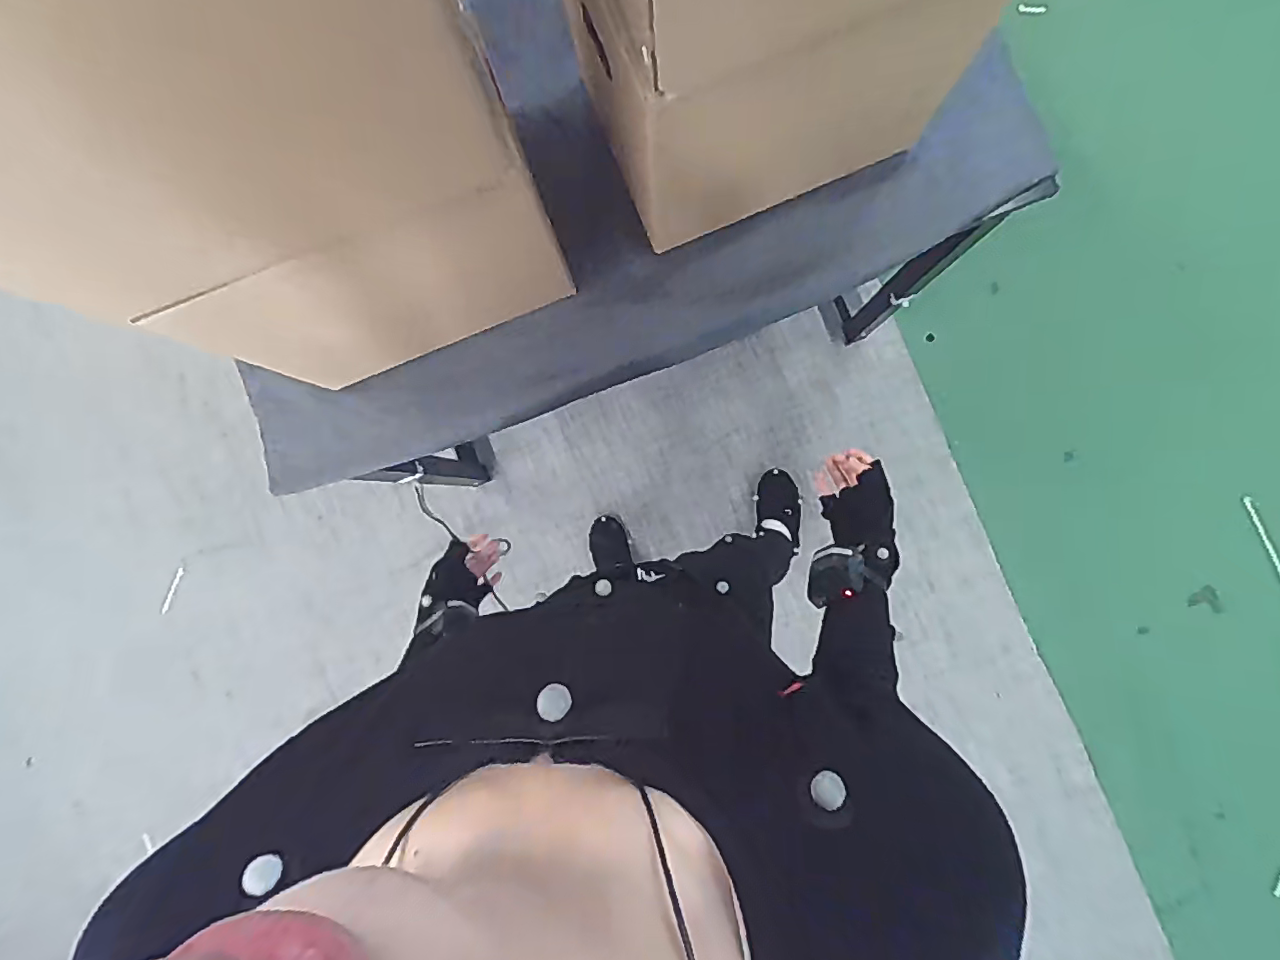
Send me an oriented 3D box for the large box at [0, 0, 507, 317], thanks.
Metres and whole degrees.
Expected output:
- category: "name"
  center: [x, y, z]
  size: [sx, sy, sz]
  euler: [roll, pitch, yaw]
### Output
- category: "large box"
  center: [-0.359, -0.365, 0.362]
  size: [0.408, 0.320, 0.320]
  euler: [-20, 88, 0]
